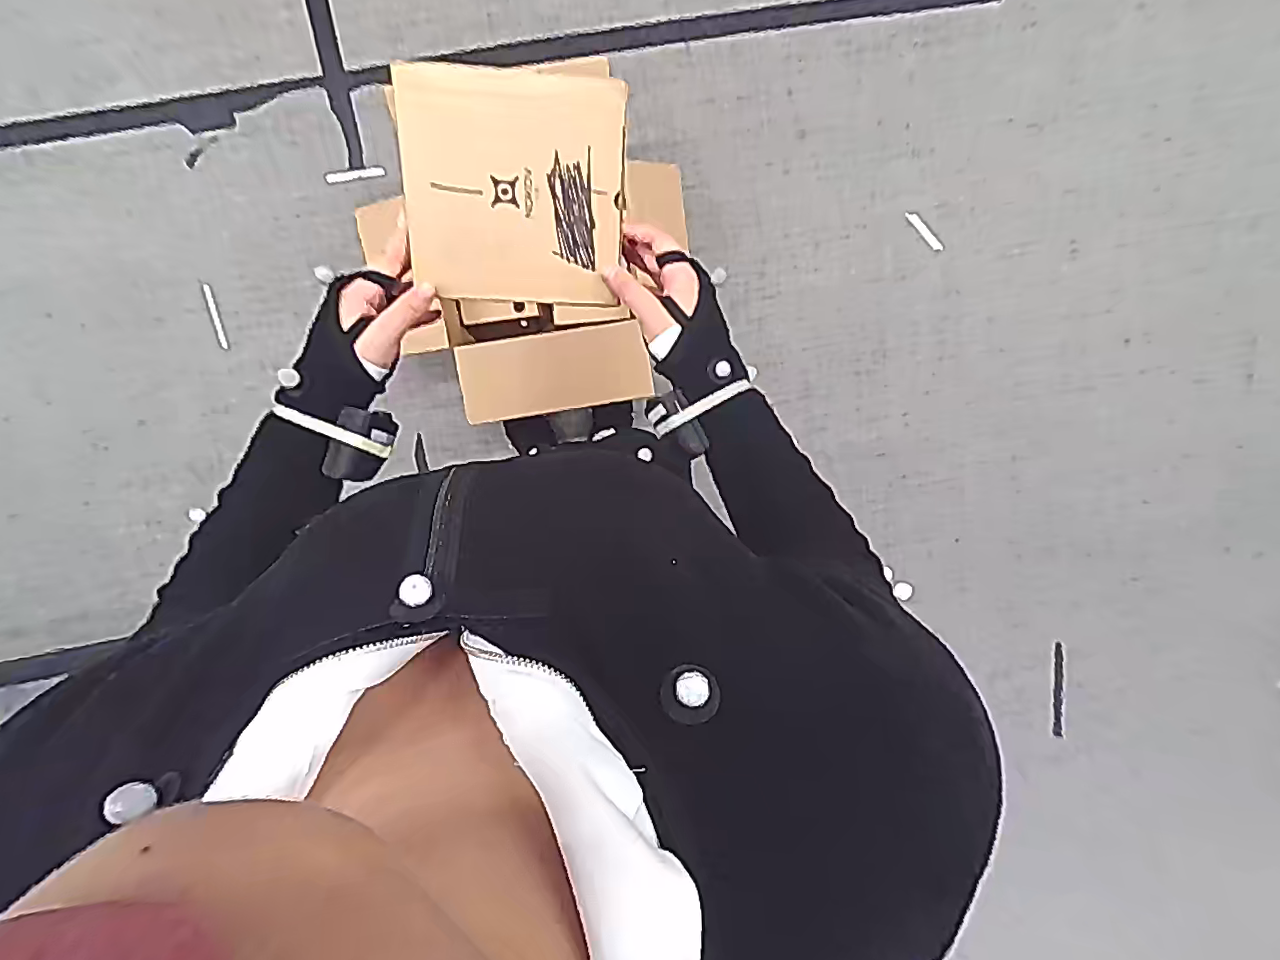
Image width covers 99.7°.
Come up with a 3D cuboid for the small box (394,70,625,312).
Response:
[{"bbox_3d":[-0.108,-0.255,0.512,0.179,0.176,0.168,1,110,-5],"label":"small box"}]
